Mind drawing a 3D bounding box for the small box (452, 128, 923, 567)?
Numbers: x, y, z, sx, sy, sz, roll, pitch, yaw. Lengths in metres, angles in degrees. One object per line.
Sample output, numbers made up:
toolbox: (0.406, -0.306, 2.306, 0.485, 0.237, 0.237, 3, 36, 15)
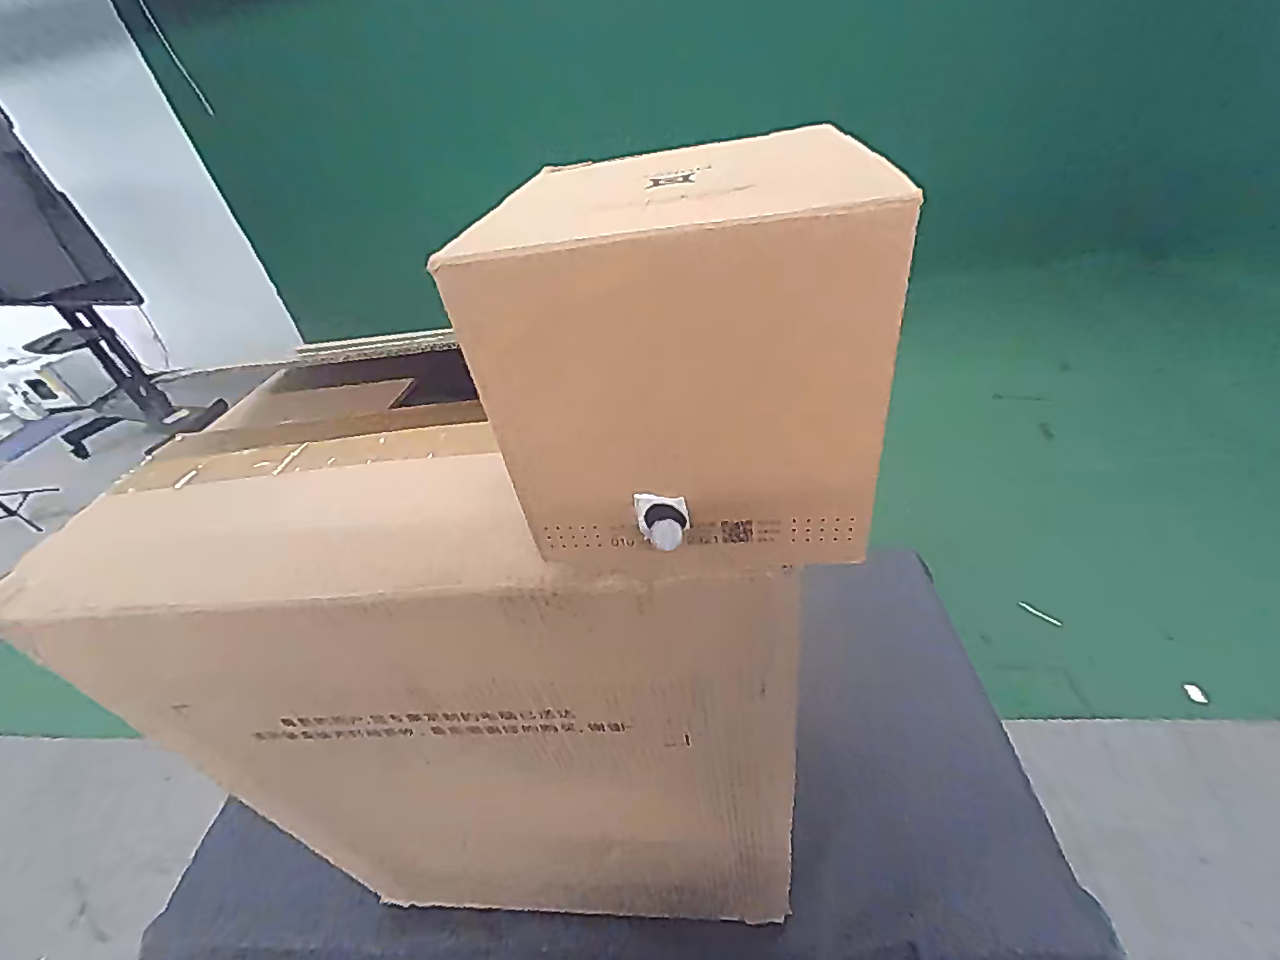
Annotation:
small box: (0.028, -0.073, 0.297, 0.168, 0.176, 0.179, -5, 39, 9)
